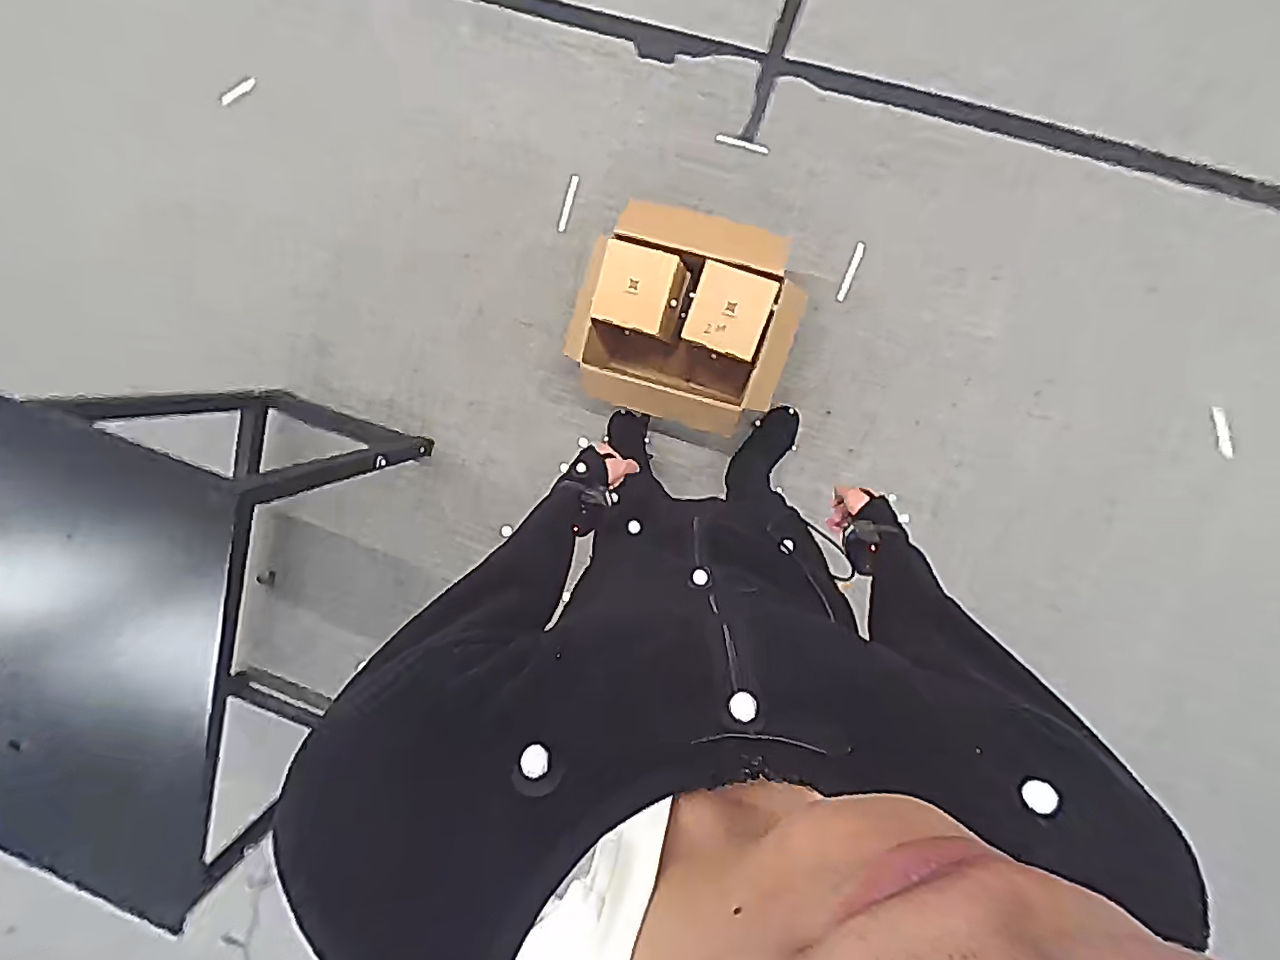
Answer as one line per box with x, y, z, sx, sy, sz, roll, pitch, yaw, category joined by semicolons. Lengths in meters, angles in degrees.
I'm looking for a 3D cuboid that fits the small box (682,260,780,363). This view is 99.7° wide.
0.207;-0.380;1.248;0.168;0.176;0.179;22;104;5;small box
